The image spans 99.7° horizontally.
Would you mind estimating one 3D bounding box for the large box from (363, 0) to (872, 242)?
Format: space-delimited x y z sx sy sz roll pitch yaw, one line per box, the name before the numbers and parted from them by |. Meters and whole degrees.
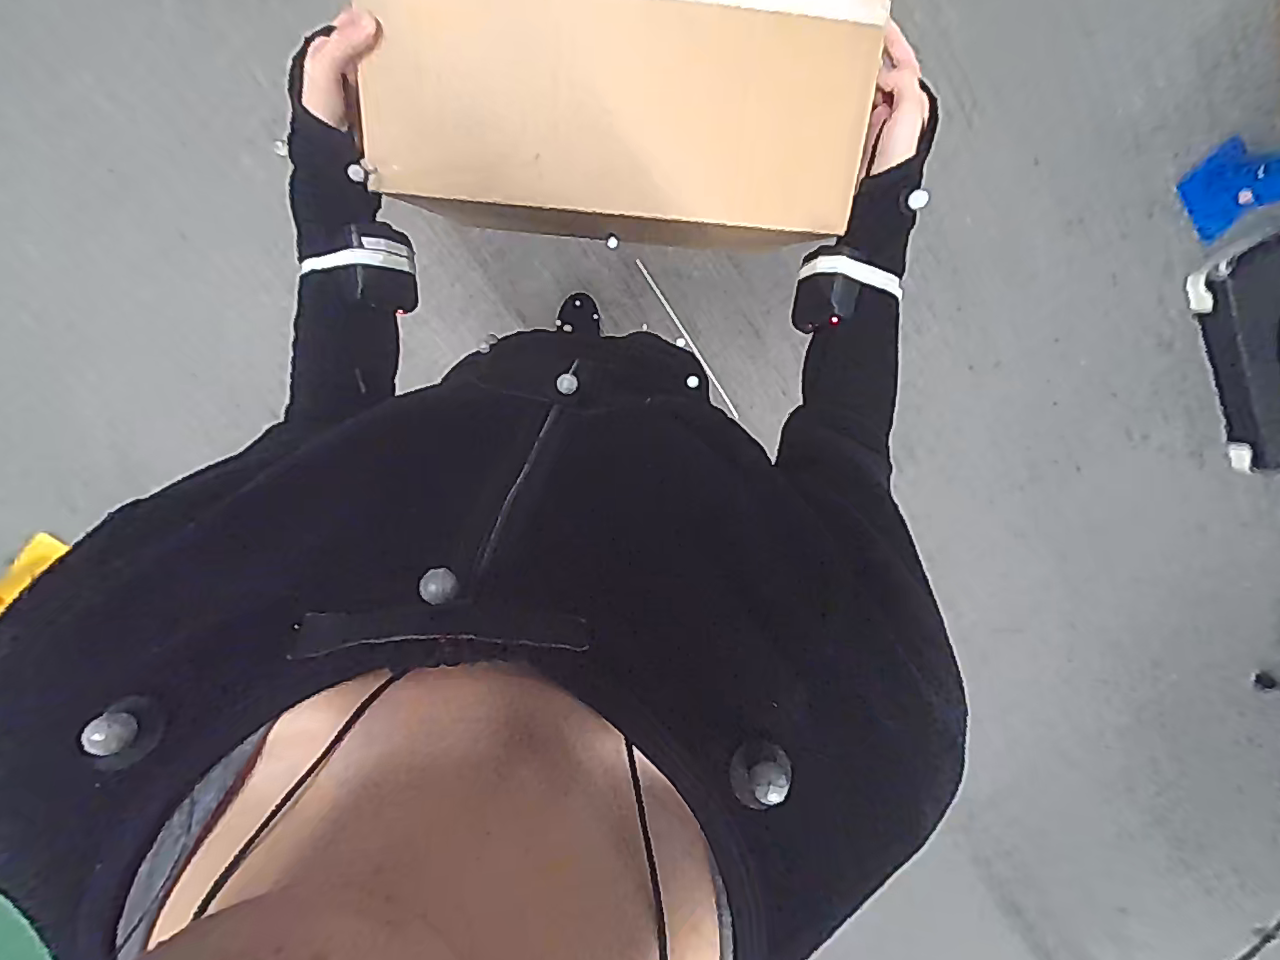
large box | -0.020 -0.429 0.559 0.408 0.320 0.320 2 109 -4
